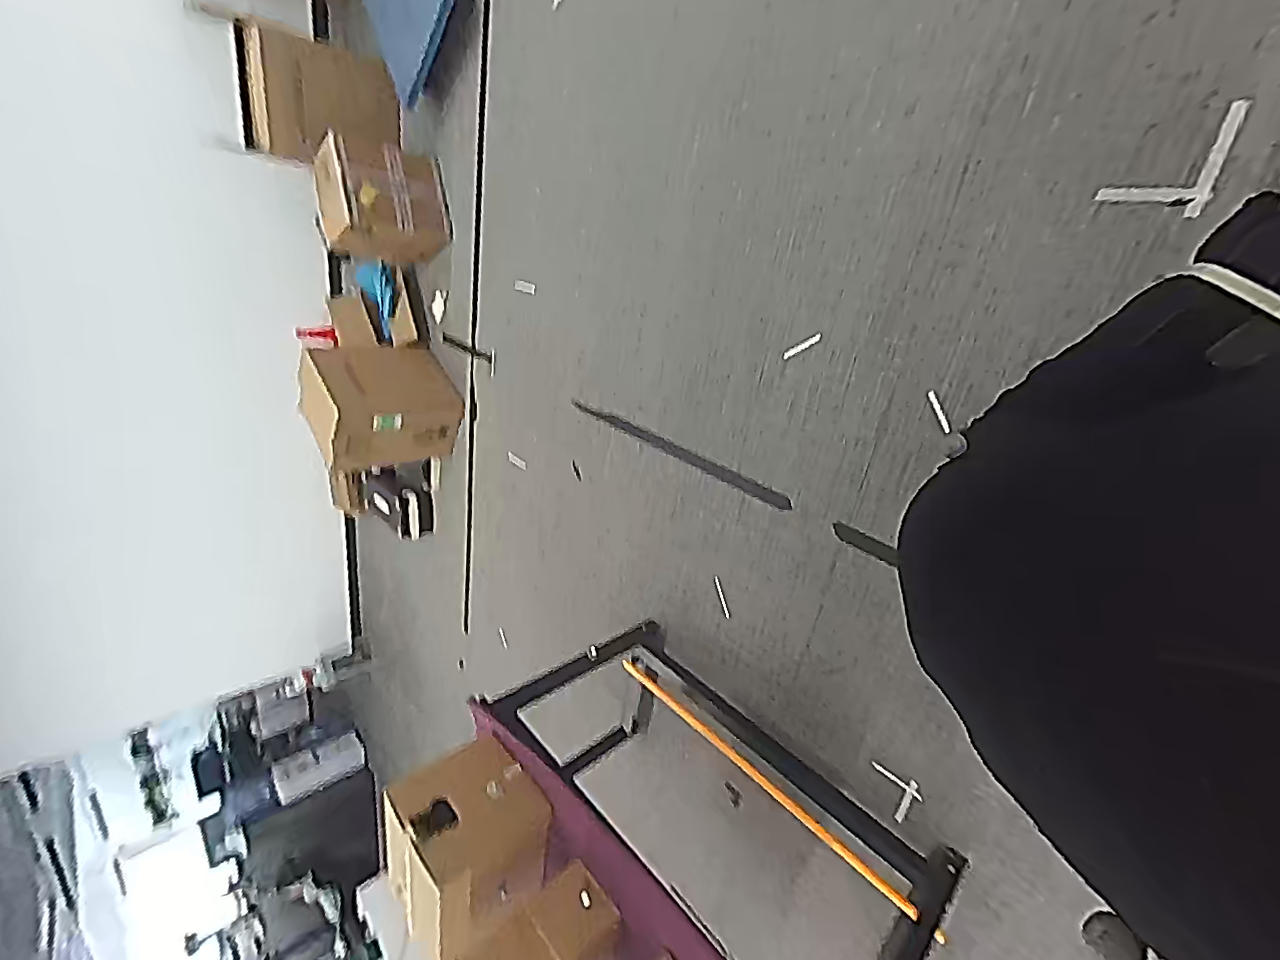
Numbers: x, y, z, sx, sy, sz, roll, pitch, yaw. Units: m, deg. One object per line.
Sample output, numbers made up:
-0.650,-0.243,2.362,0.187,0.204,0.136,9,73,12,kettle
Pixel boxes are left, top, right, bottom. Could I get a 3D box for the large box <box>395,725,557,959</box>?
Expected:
-0.446,0.978,1.478,0.320,0.320,0.408,29,121,39,large box
